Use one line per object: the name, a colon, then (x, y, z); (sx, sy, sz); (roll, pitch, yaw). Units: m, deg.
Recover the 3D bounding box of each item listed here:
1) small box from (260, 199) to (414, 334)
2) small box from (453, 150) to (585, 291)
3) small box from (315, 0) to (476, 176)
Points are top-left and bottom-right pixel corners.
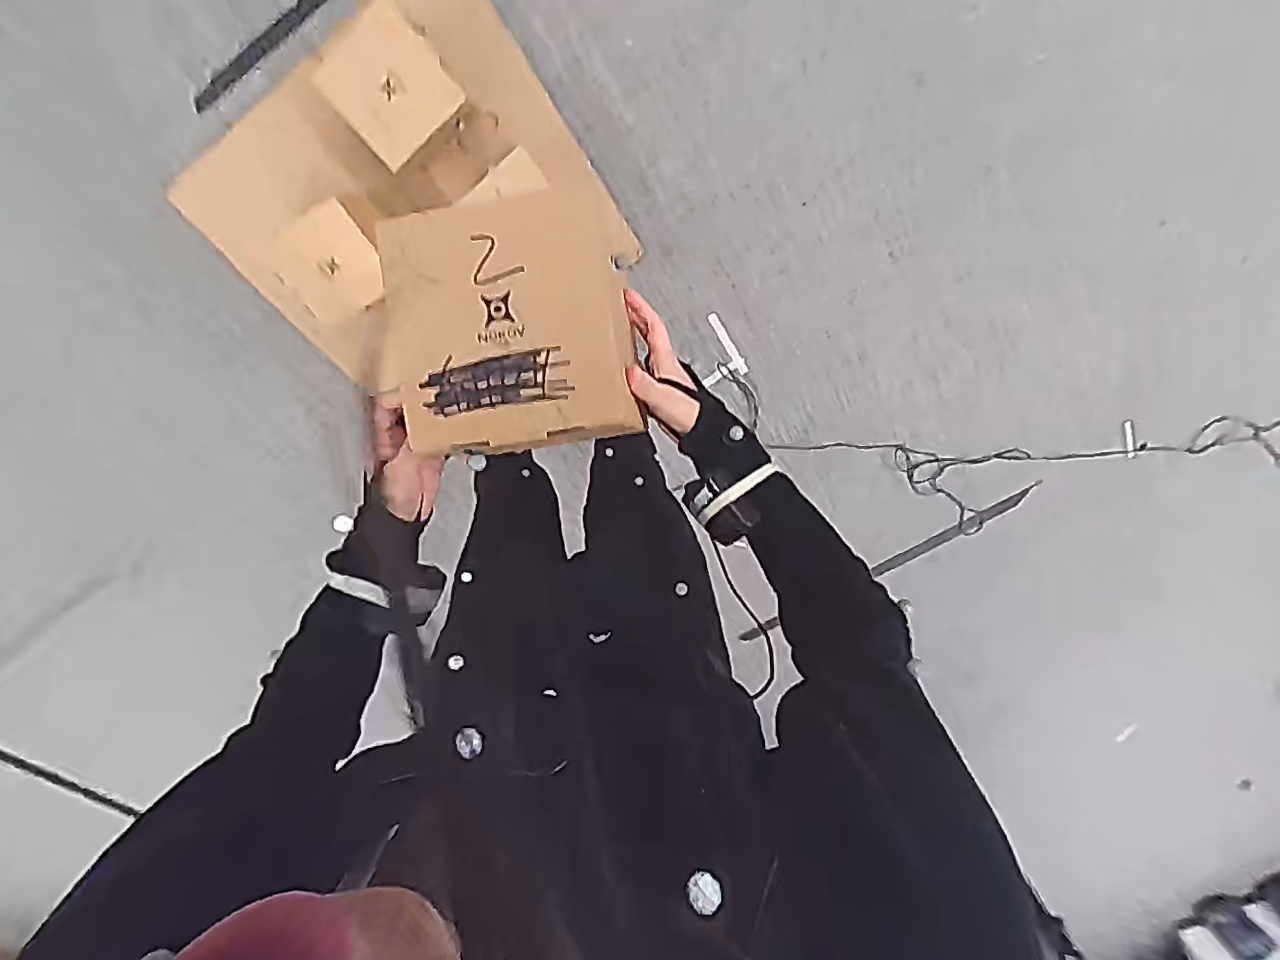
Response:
small box: (-0.556, -0.411, 1.026); (0.179, 0.176, 0.168); (-29, 119, 9)
small box: (-0.222, -0.495, 1.030); (0.168, 0.176, 0.179); (-36, 117, 12)
small box: (-0.400, -0.651, 0.921); (0.179, 0.176, 0.168); (-37, 116, 13)
